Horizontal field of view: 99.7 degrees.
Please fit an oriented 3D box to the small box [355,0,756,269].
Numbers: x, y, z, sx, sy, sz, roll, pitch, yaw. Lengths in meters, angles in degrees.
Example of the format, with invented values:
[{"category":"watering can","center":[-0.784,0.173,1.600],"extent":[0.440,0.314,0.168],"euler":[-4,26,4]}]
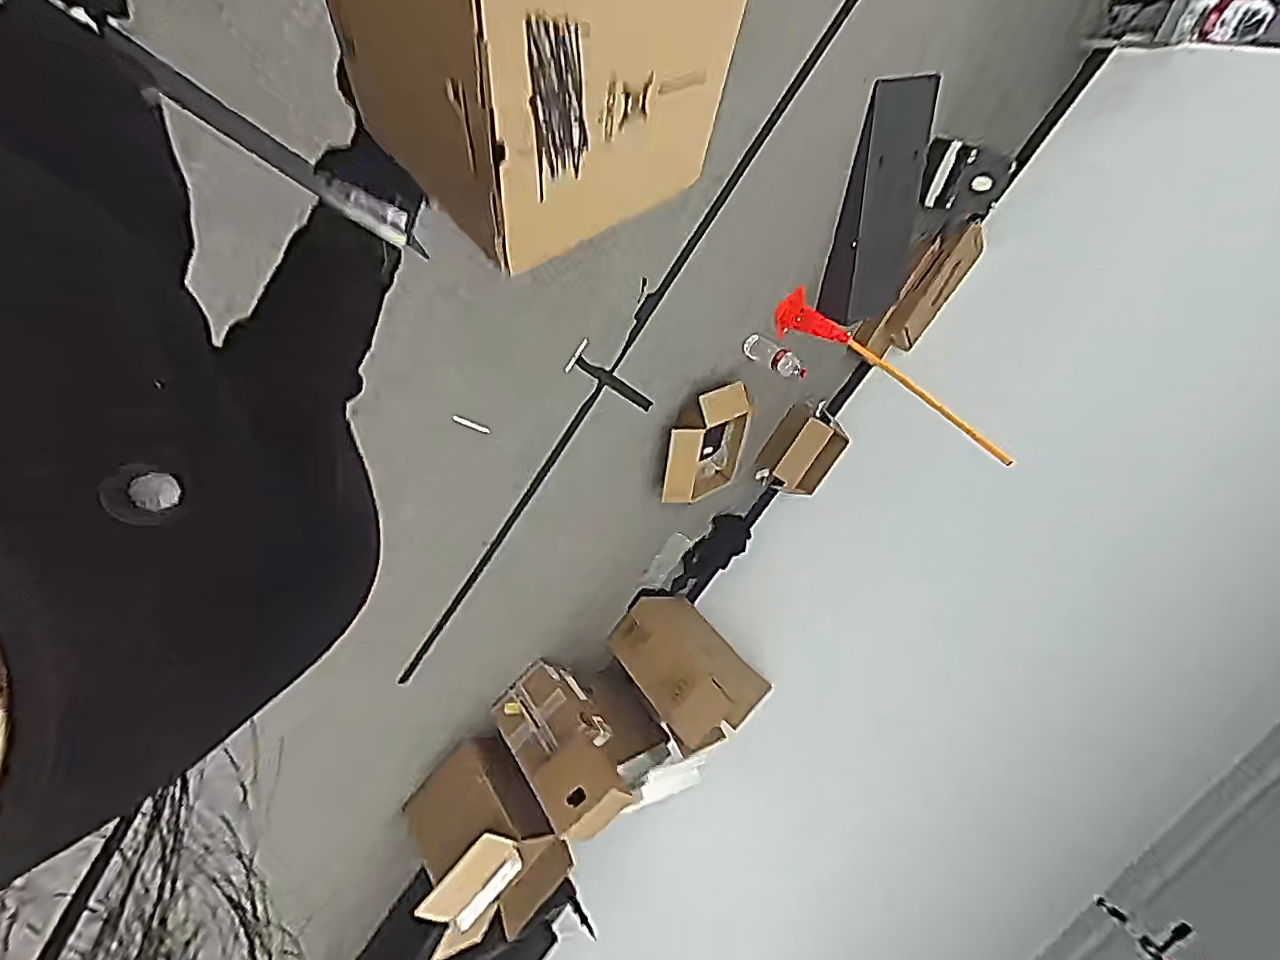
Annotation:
[{"category":"small box","center":[-0.055,-0.271,0.320],"extent":[0.179,0.176,0.168],"euler":[-37,166,-22]}]
